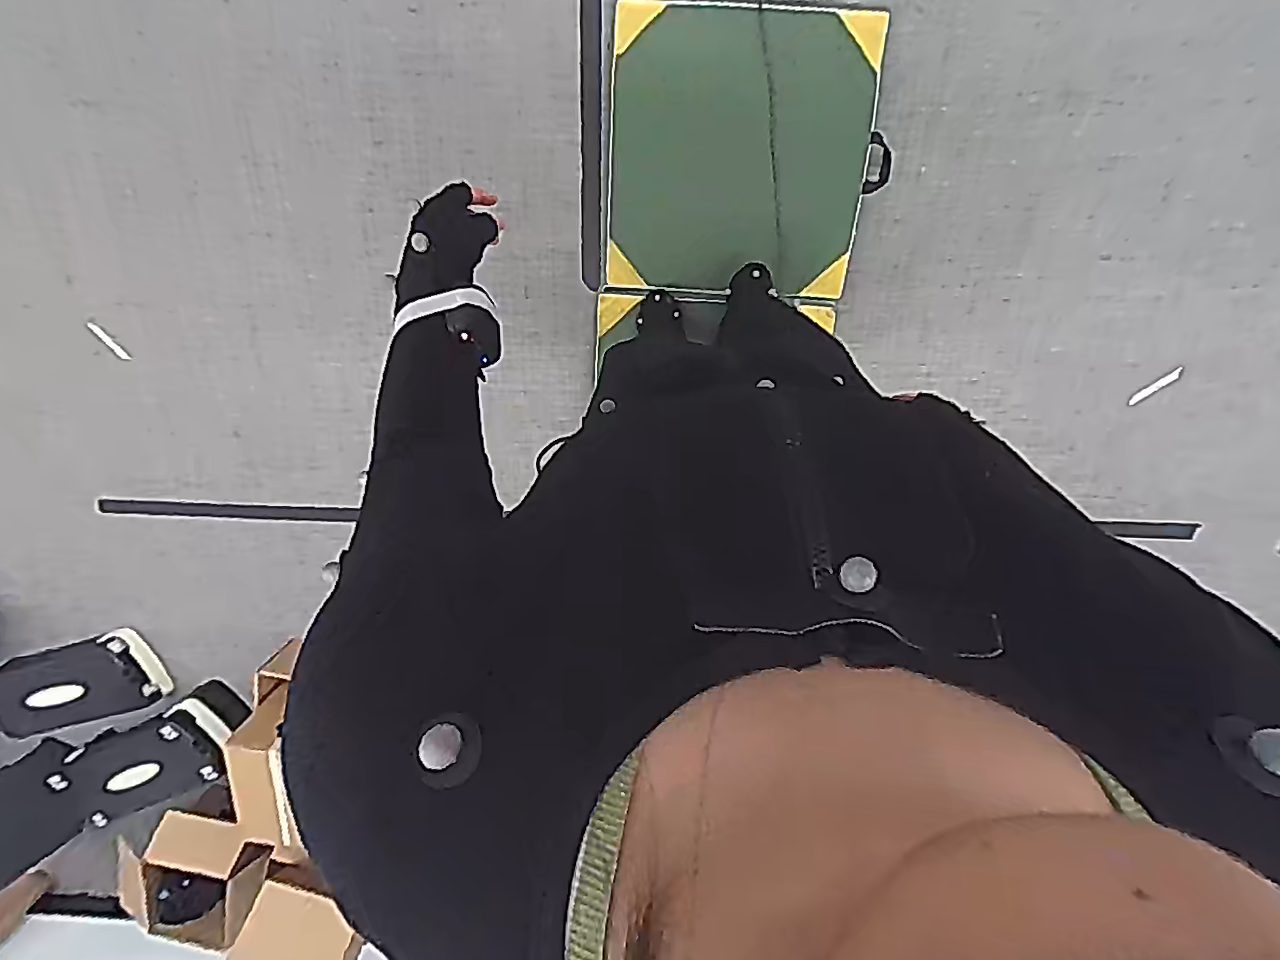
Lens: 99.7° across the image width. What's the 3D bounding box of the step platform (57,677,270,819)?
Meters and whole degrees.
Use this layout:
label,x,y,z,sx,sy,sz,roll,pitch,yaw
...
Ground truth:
label,x,y,z,sx,sy,sz,roll,pitch,yaw
step platform,-1.738,0.982,1.974,0.684,0.204,0.286,-26,107,11
